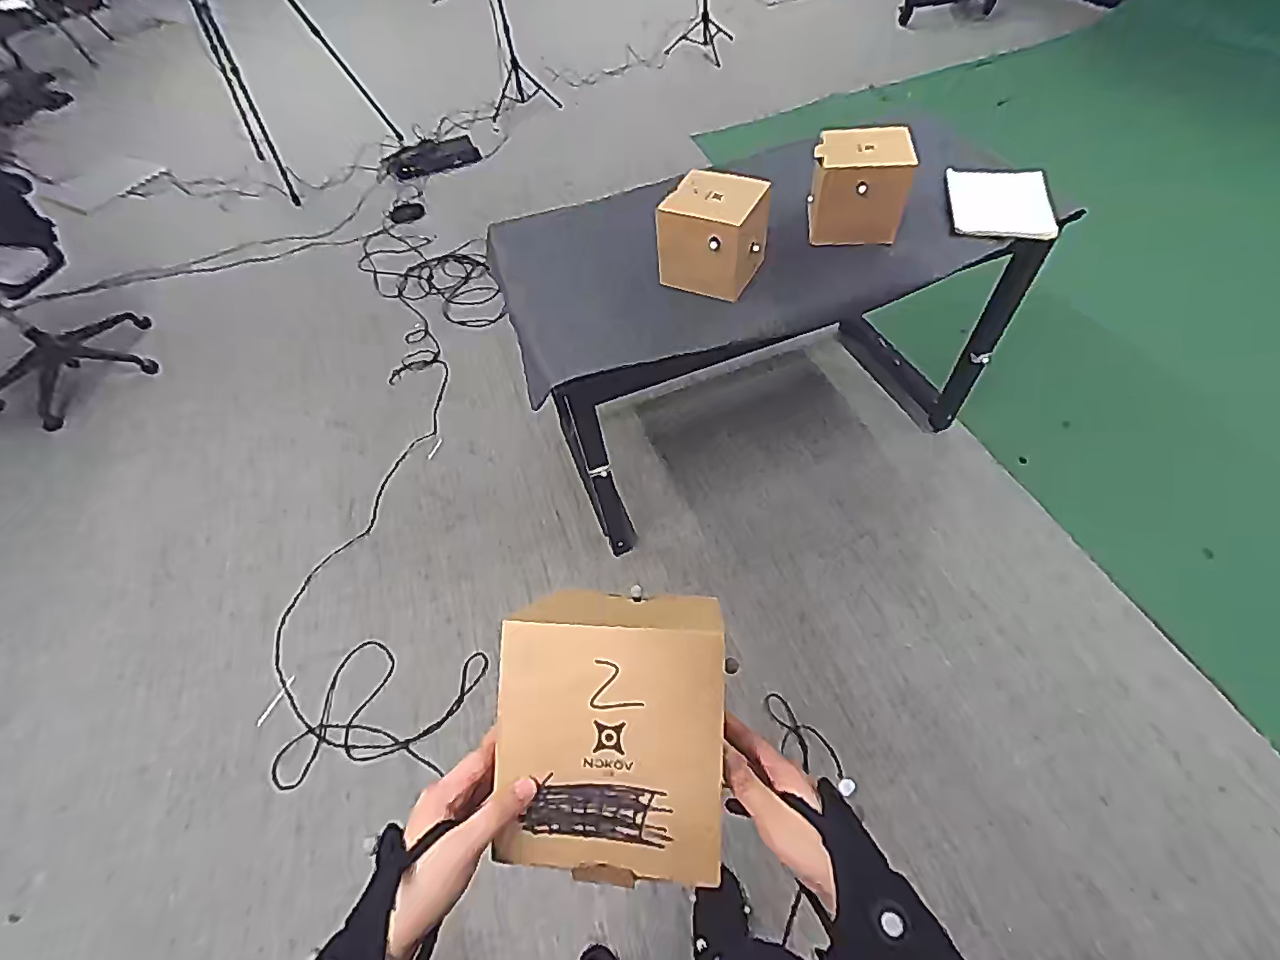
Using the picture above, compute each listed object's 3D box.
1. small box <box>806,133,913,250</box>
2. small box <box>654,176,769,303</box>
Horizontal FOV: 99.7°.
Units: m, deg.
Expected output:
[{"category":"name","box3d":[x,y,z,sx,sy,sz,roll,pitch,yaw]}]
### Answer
[{"category":"small box","box3d":[0.462,-0.616,1.163,0.179,0.176,0.168,3,55,10]},{"category":"small box","box3d":[0.146,-0.489,1.110,0.179,0.176,0.168,21,59,20]}]
